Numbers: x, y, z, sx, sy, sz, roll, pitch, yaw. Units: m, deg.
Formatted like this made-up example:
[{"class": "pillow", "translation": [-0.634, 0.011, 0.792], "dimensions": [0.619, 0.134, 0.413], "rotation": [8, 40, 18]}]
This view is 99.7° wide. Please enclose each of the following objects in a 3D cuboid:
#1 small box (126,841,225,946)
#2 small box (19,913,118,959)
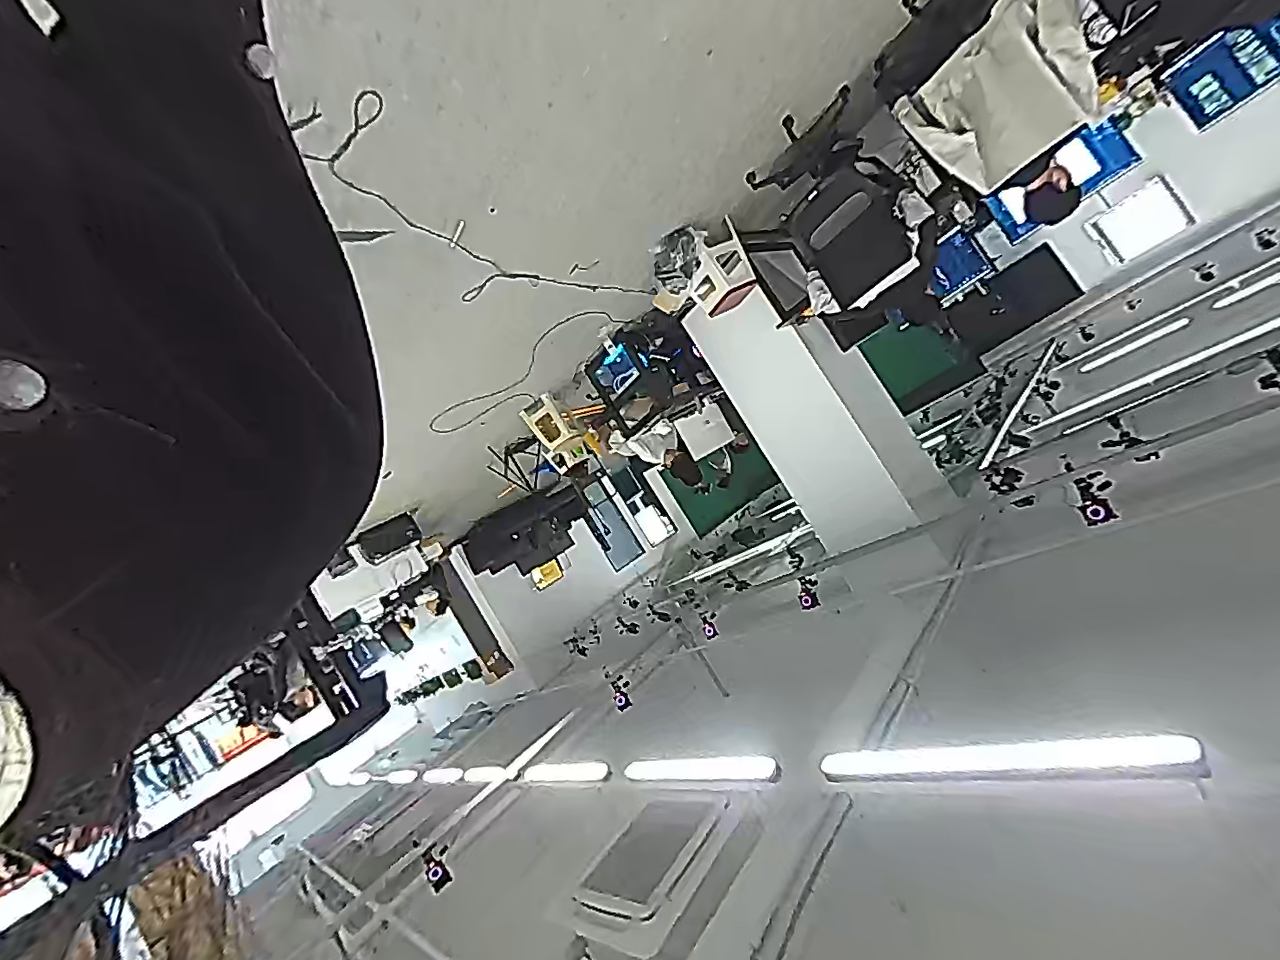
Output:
[{"class": "small box", "translation": [-1.318, 1.161, 1.534], "dimensions": [0.179, 0.176, 0.168], "rotation": [-34, 176, 43]}, {"class": "small box", "translation": [-1.462, 1.241, 1.364], "dimensions": [0.168, 0.176, 0.179], "rotation": [-30, 177, -46]}]
